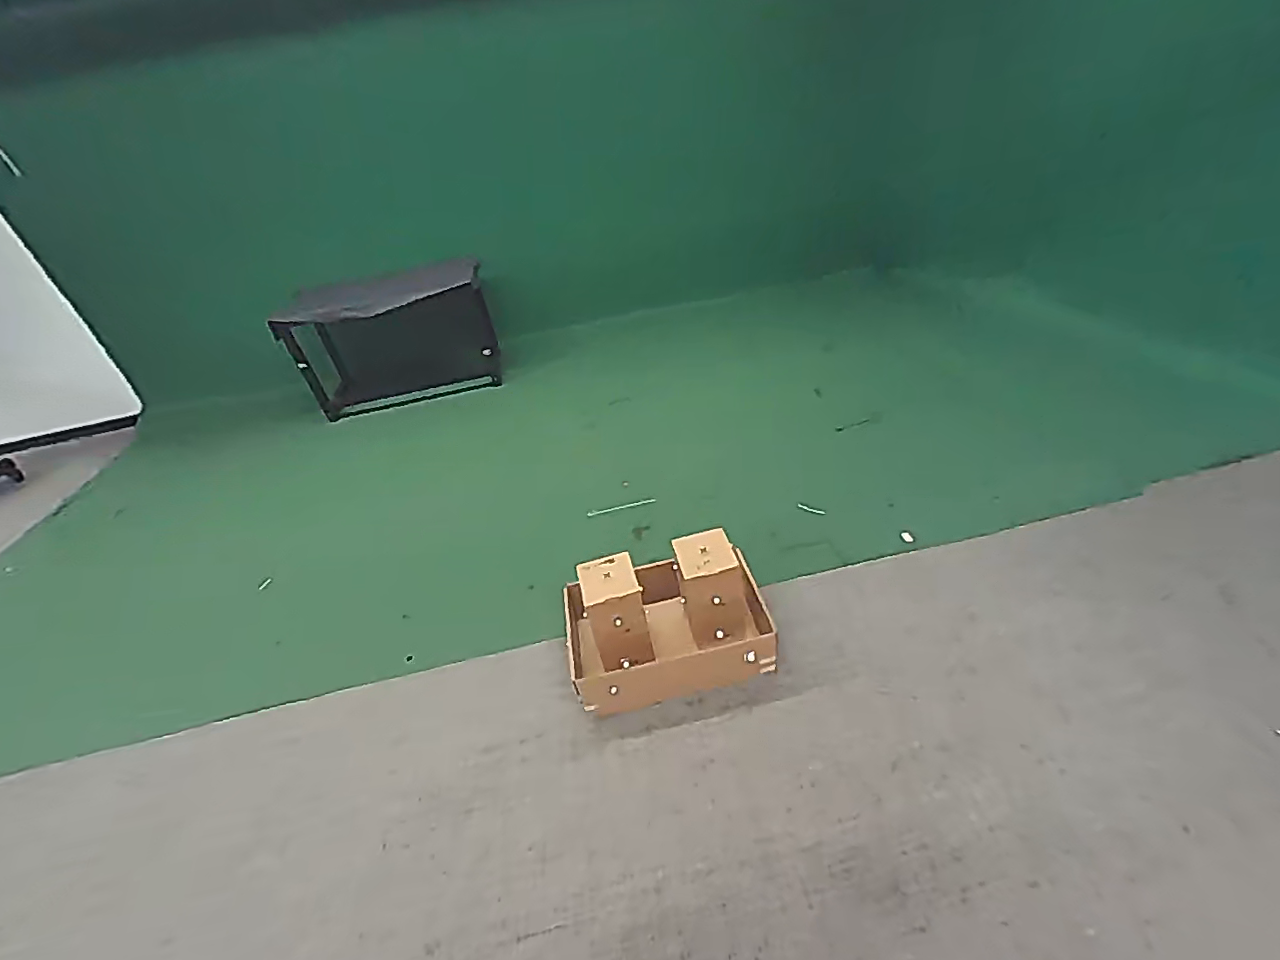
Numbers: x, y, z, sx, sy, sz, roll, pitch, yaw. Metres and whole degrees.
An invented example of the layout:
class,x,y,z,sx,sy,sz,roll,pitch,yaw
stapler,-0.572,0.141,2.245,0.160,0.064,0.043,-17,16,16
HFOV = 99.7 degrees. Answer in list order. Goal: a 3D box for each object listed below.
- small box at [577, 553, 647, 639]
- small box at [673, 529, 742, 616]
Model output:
class,x,y,z,sx,sy,sz,roll,pitch,yaw
small box,-0.082,0.353,1.620,0.168,0.176,0.179,-14,37,-5
small box,0.205,0.281,1.645,0.168,0.176,0.179,-14,37,-3
